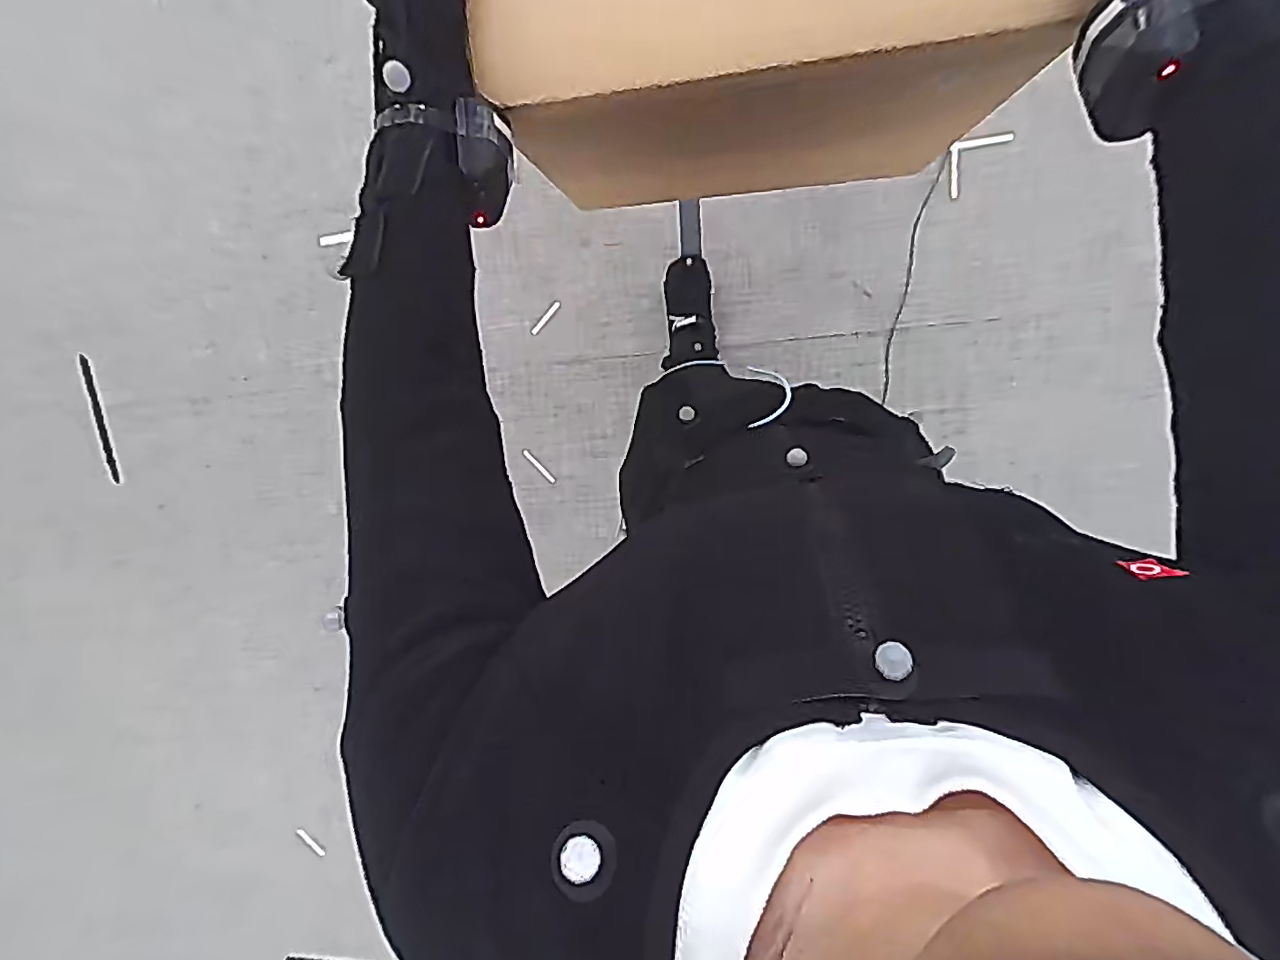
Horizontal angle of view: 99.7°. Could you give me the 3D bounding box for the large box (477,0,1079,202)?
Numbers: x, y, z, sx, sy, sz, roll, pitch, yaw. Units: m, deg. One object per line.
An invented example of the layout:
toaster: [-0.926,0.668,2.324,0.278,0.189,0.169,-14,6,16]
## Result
large box: [0.090,-0.470,0.472,0.408,0.320,0.320,-3,104,8]
